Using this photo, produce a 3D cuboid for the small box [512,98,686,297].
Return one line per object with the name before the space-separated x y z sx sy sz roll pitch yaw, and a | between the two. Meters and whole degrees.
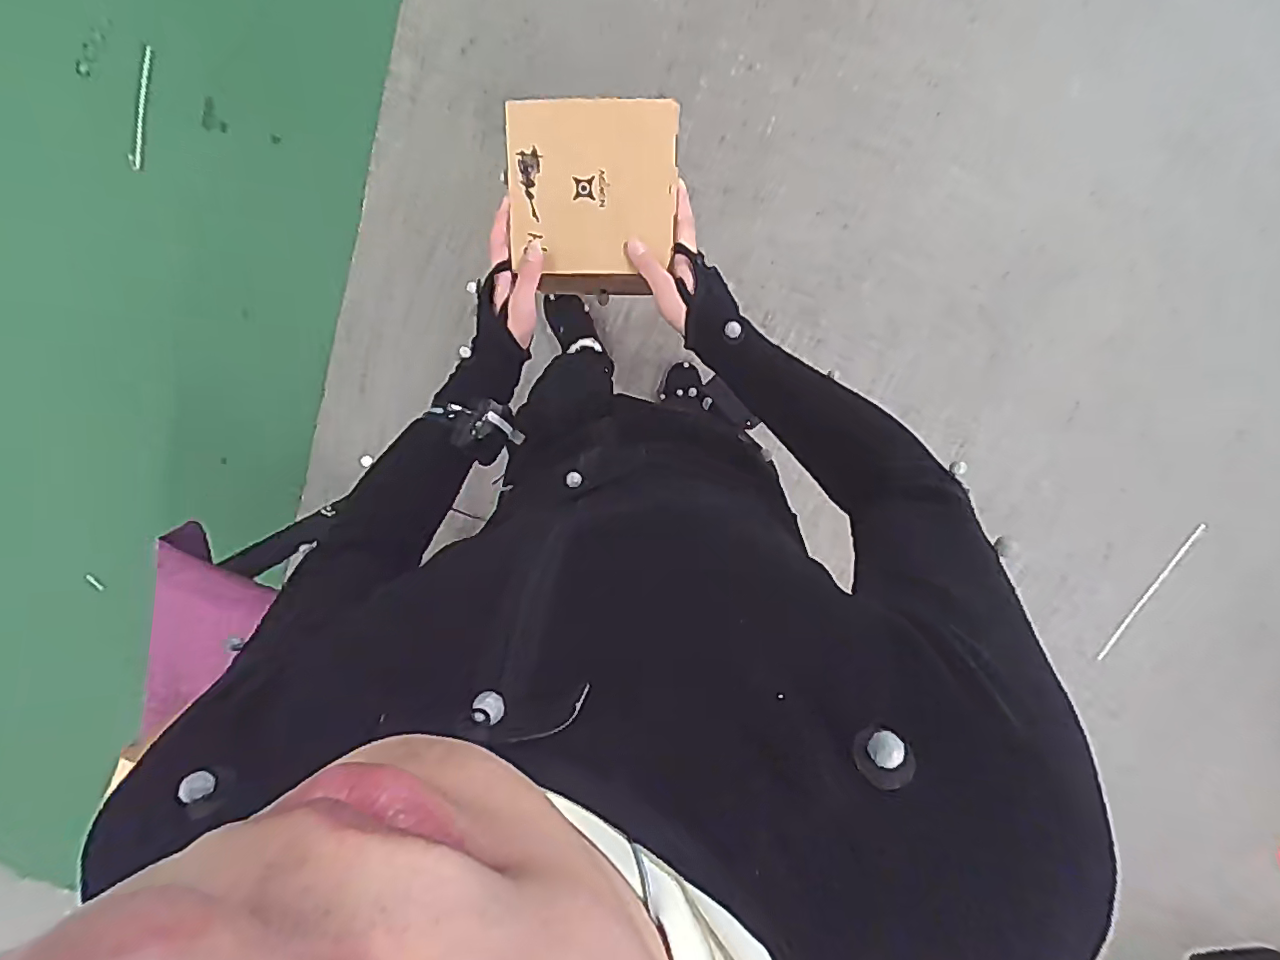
small box | -0.044 -0.312 0.630 0.179 0.176 0.168 1 101 0
